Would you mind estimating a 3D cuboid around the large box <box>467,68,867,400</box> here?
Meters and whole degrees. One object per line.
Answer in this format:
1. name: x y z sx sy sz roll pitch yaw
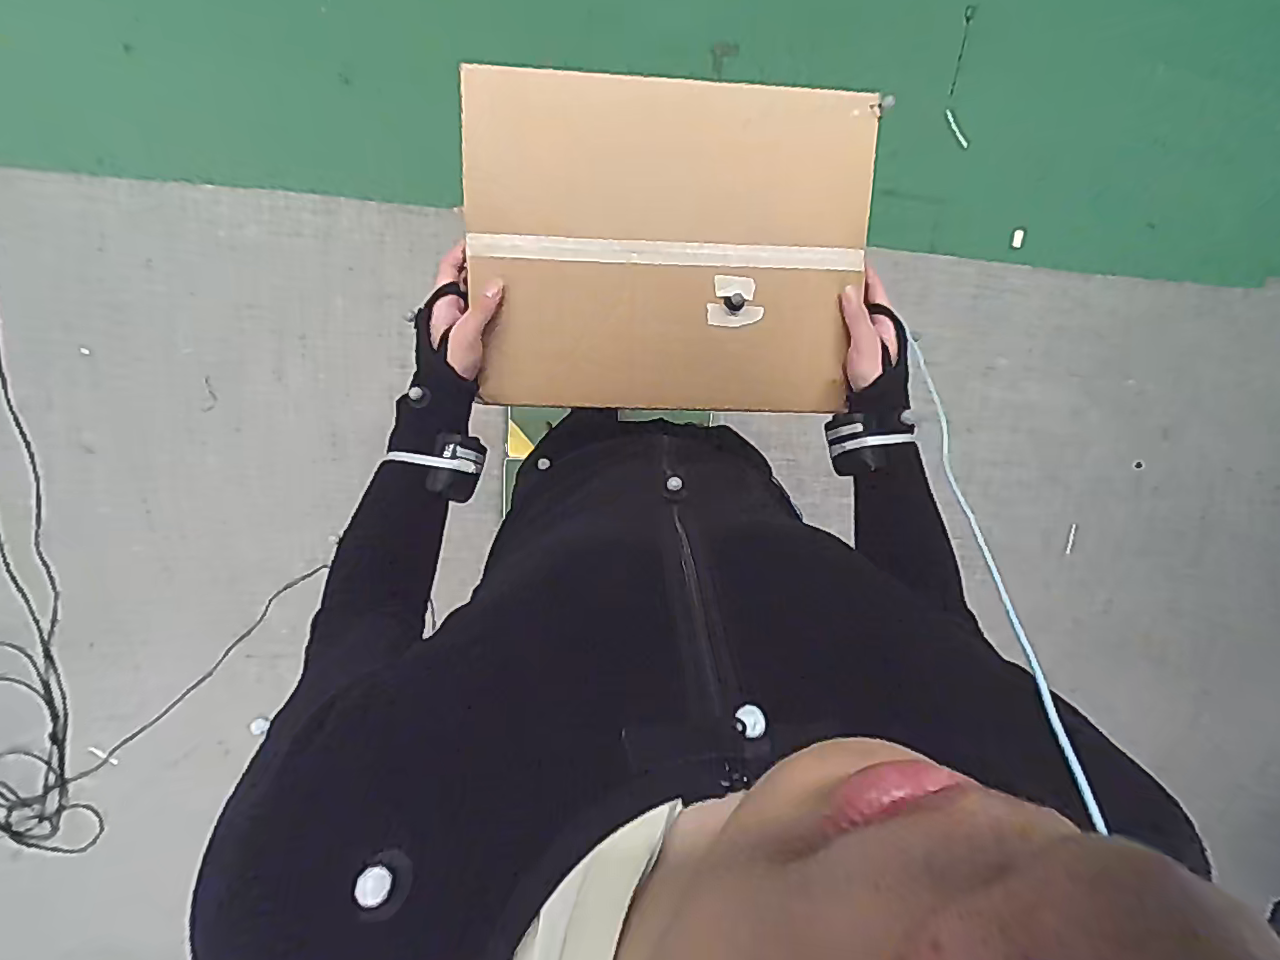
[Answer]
1. large box: 0.017 -0.267 0.700 0.408 0.320 0.320 1 101 -5
